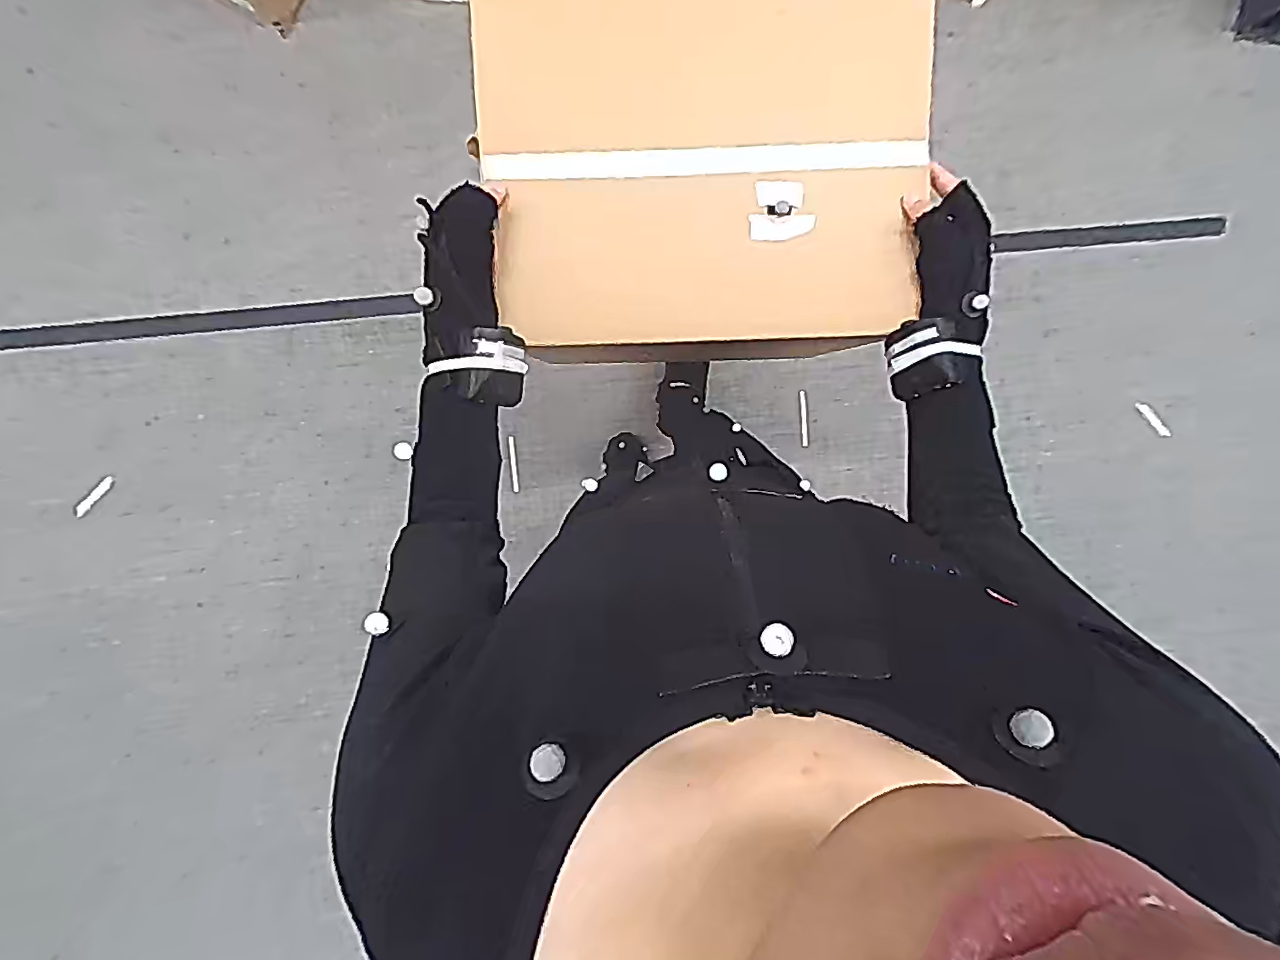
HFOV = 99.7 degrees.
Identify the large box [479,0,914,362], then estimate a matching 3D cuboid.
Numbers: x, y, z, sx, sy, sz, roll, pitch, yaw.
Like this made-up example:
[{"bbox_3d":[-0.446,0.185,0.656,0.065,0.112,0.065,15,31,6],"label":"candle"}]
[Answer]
[{"bbox_3d":[0.054,-0.321,0.658,0.408,0.320,0.320,-3,99,-1],"label":"large box"}]
